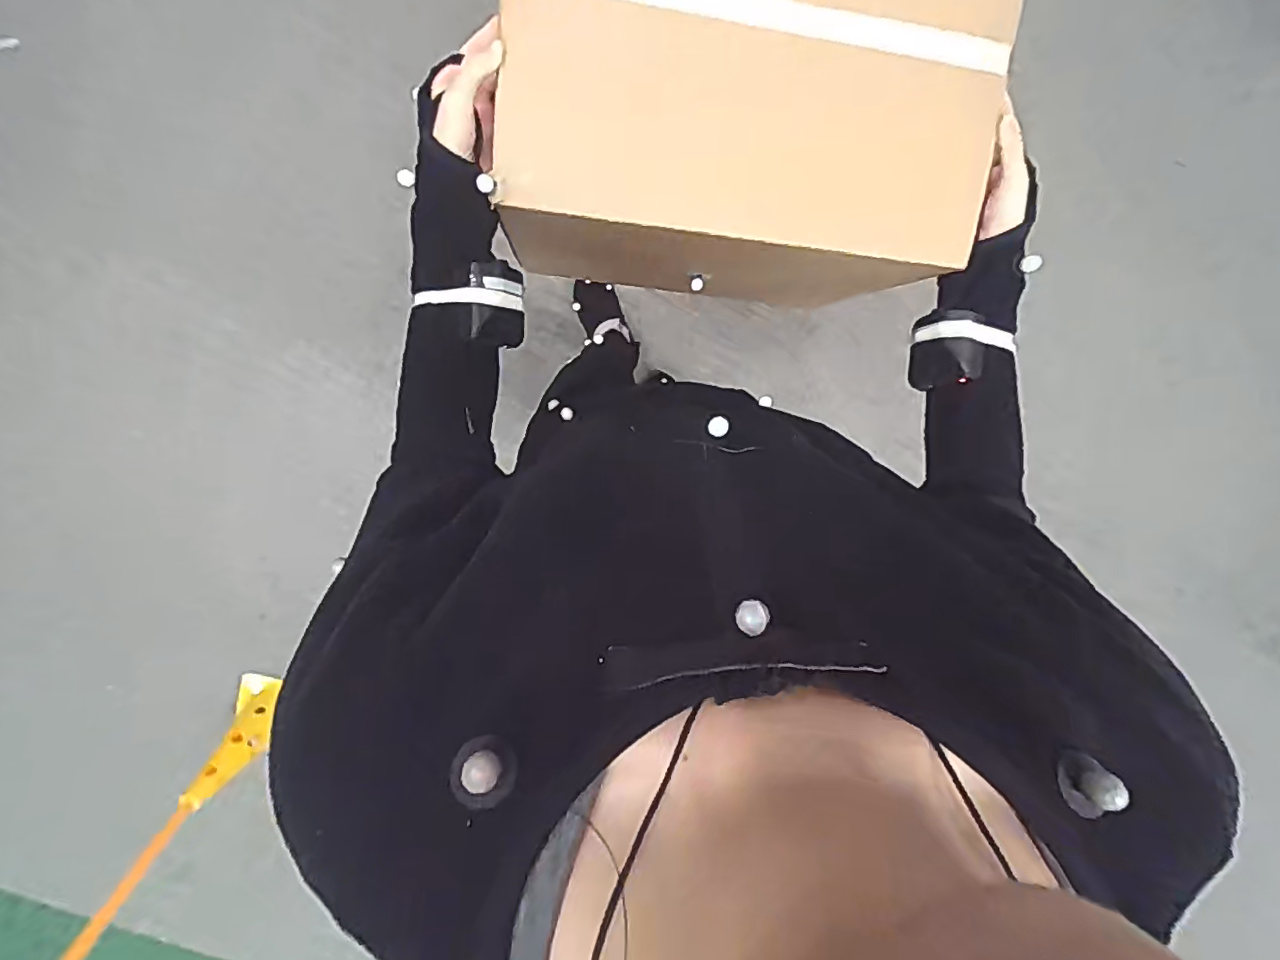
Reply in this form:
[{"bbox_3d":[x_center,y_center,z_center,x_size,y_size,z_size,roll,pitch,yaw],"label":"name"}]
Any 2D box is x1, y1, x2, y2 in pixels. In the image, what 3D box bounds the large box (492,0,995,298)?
[{"bbox_3d":[0.073,-0.381,0.573,0.408,0.320,0.320,3,101,-7],"label":"large box"}]
